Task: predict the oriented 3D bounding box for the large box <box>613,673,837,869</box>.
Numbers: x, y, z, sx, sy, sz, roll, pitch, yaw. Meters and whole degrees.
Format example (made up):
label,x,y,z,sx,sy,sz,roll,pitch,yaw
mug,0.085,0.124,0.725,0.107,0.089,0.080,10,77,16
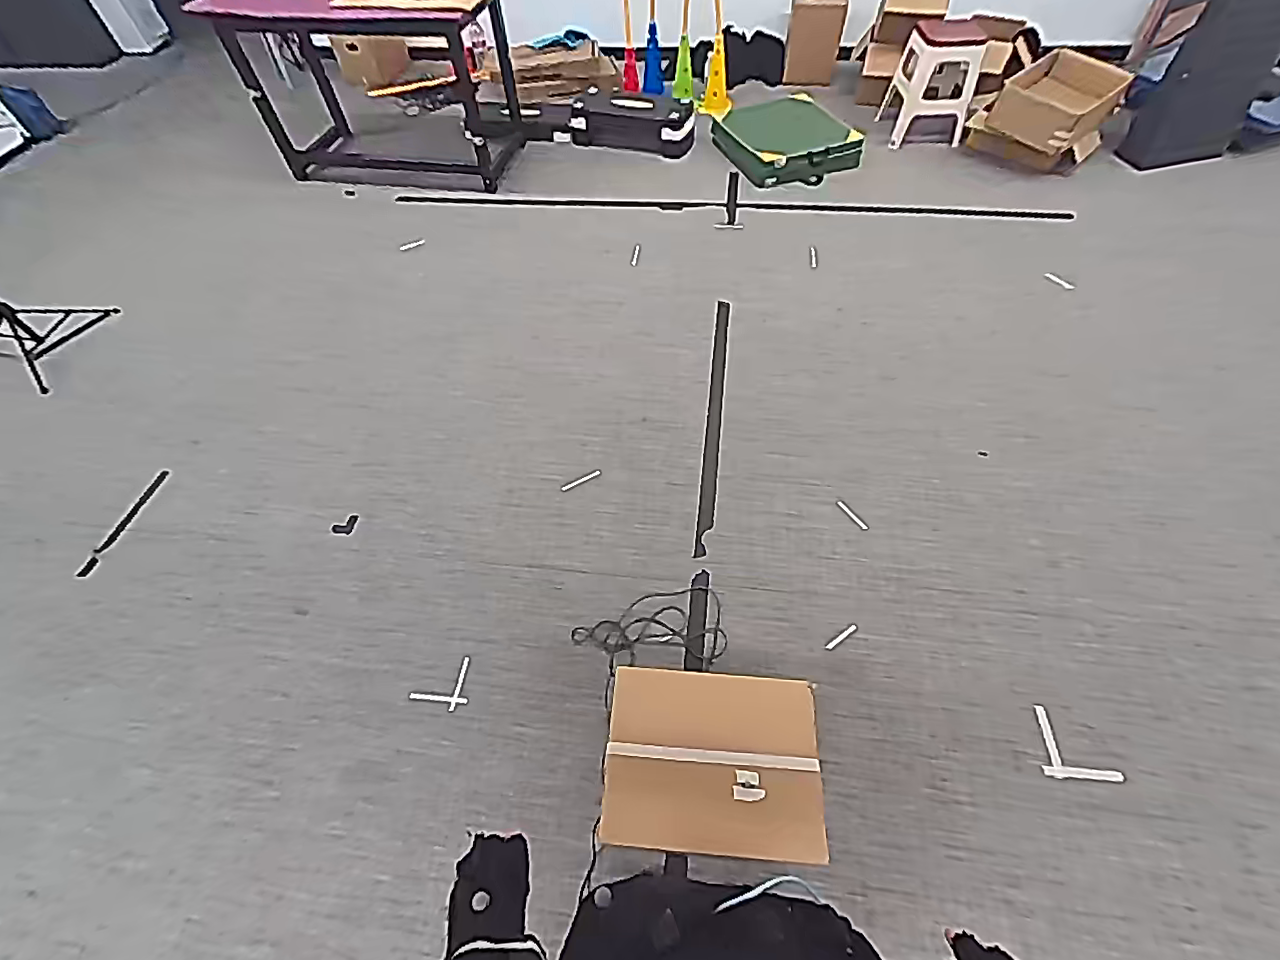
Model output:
label,x,y,z,sx,sy,sz,roll,pitch,yaw
large box,0.159,0.628,1.159,0.408,0.320,0.320,4,55,4
